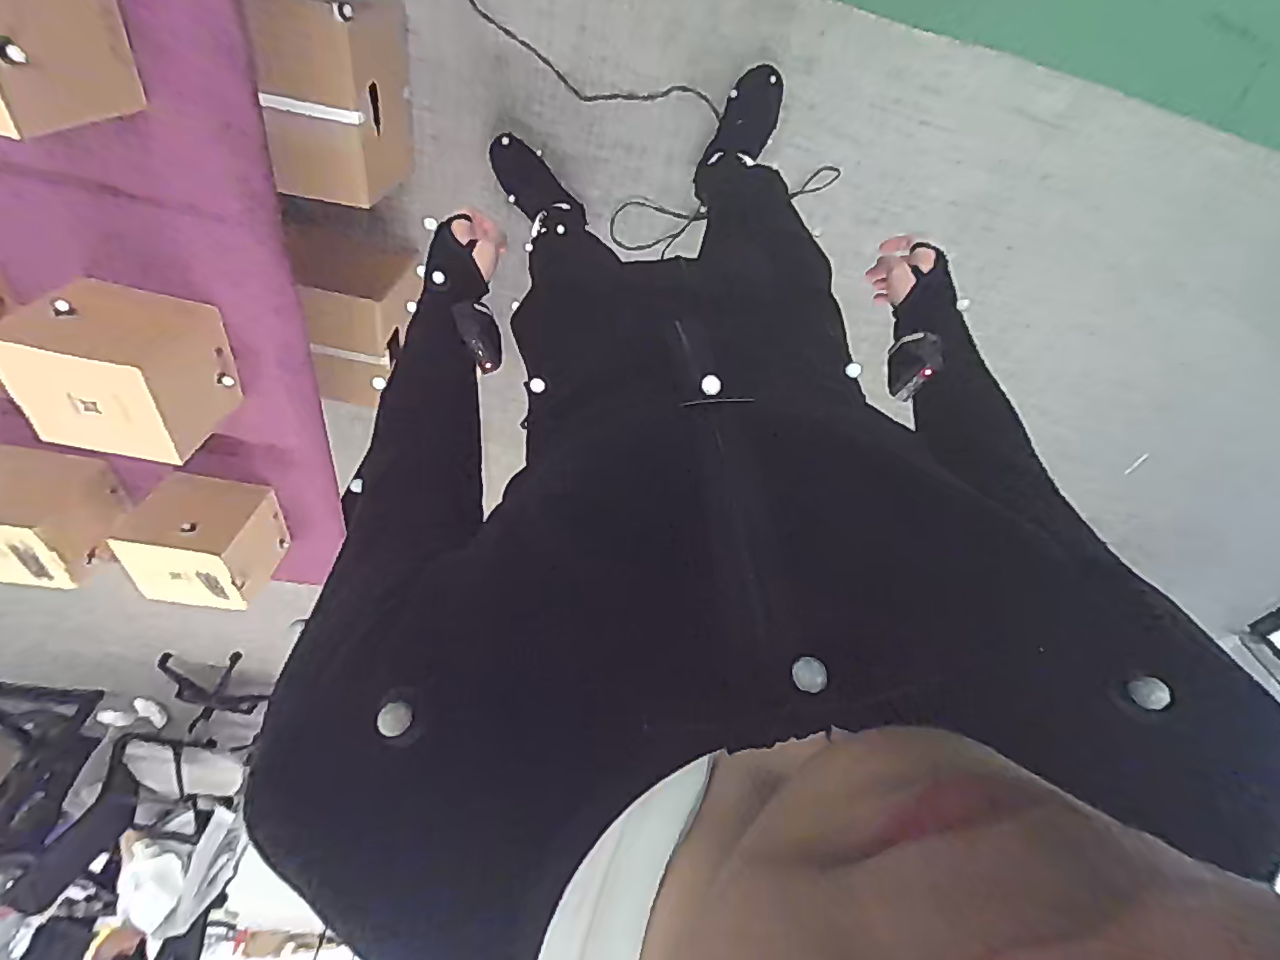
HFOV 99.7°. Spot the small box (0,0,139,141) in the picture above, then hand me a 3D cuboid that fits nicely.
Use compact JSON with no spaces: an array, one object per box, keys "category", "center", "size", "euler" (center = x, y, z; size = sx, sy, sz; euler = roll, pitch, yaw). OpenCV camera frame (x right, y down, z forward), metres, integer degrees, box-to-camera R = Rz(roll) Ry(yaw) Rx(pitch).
[{"category":"small box","center":[-0.616,-0.430,0.476],"size":[0.179,0.176,0.168],"euler":[13,133,-8]}]

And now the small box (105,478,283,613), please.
[{"category":"small box","center":[-0.784,0.116,0.982],"size":[0.179,0.176,0.168],"euler":[10,132,-6]}]

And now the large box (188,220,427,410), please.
[{"category":"large box","center":[-0.803,-0.423,1.389],"size":[0.408,0.320,0.320],"euler":[11,131,-8]}]

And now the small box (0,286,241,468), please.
[{"category":"small box","center":[-0.702,-0.145,0.744],"size":[0.179,0.176,0.168],"euler":[12,133,-9]}]
